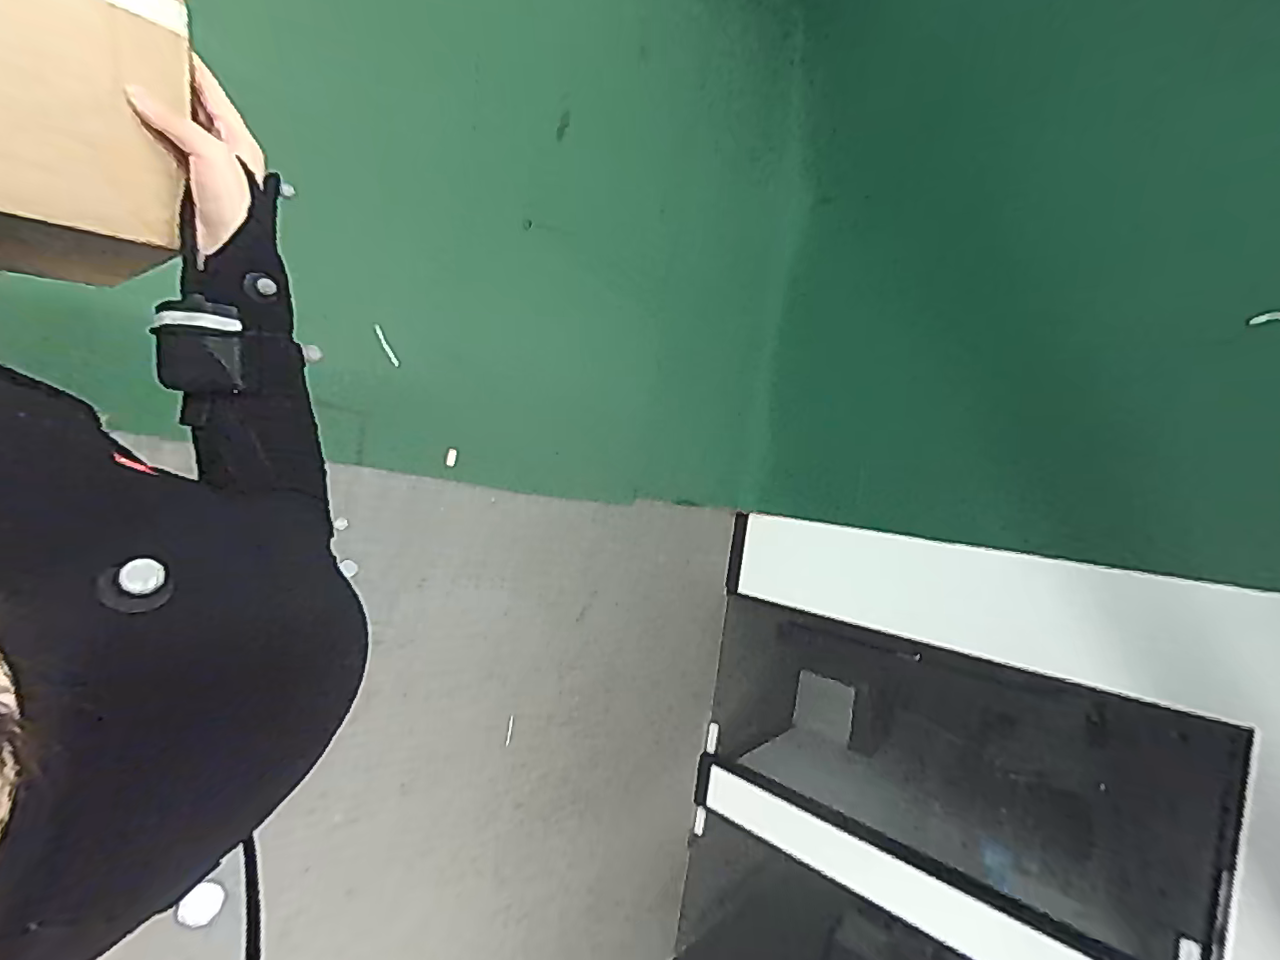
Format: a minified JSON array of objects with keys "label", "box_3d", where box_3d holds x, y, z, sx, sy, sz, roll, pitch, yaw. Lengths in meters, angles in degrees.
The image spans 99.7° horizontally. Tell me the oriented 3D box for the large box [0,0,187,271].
[{"label":"large box","box_3d":[-0.571,-0.340,0.318,0.408,0.320,0.320,-6,103,-53]}]
